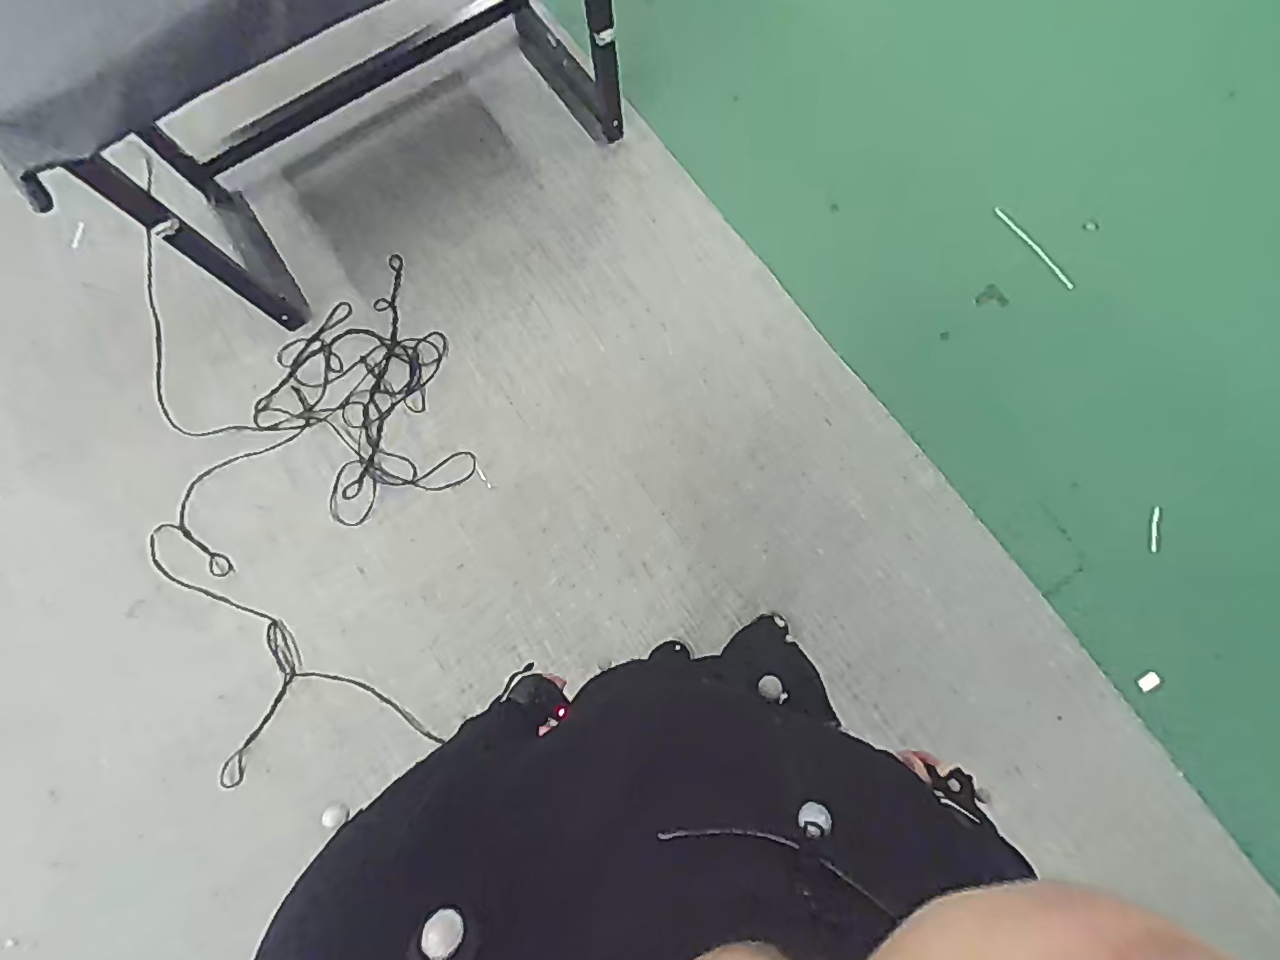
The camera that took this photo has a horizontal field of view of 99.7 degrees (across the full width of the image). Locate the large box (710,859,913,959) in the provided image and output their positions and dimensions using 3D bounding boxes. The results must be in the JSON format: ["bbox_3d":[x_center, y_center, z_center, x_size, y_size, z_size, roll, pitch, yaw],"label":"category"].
[{"bbox_3d":[0.363,1.044,1.023,0.408,0.320,0.320,-35,77,-4],"label":"large box"}]
